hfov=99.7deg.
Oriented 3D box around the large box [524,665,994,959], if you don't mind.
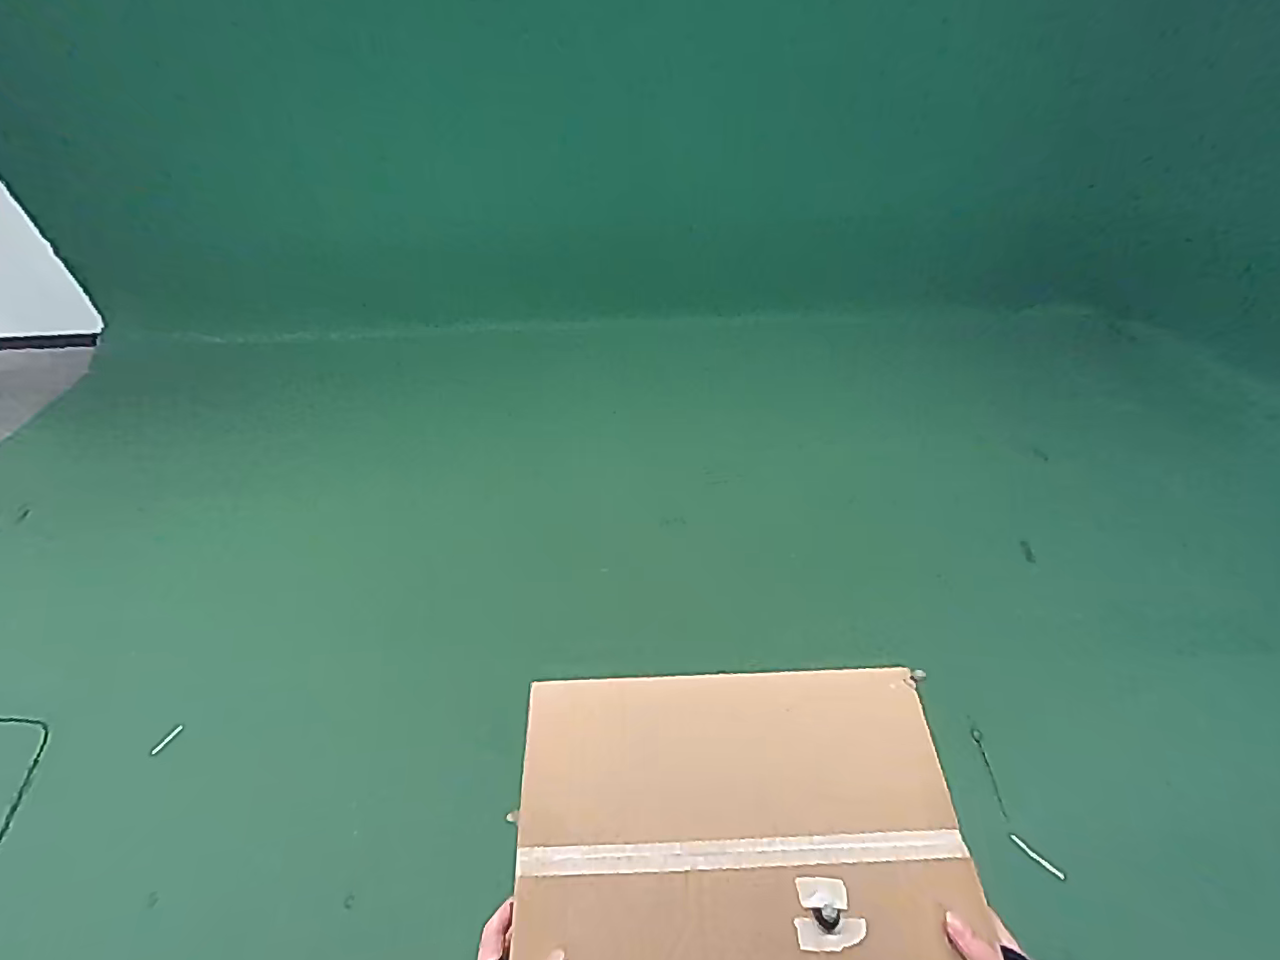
[{"bbox_3d":[0.096,0.426,0.622,0.408,0.320,0.320,-3,55,-1],"label":"large box"}]
